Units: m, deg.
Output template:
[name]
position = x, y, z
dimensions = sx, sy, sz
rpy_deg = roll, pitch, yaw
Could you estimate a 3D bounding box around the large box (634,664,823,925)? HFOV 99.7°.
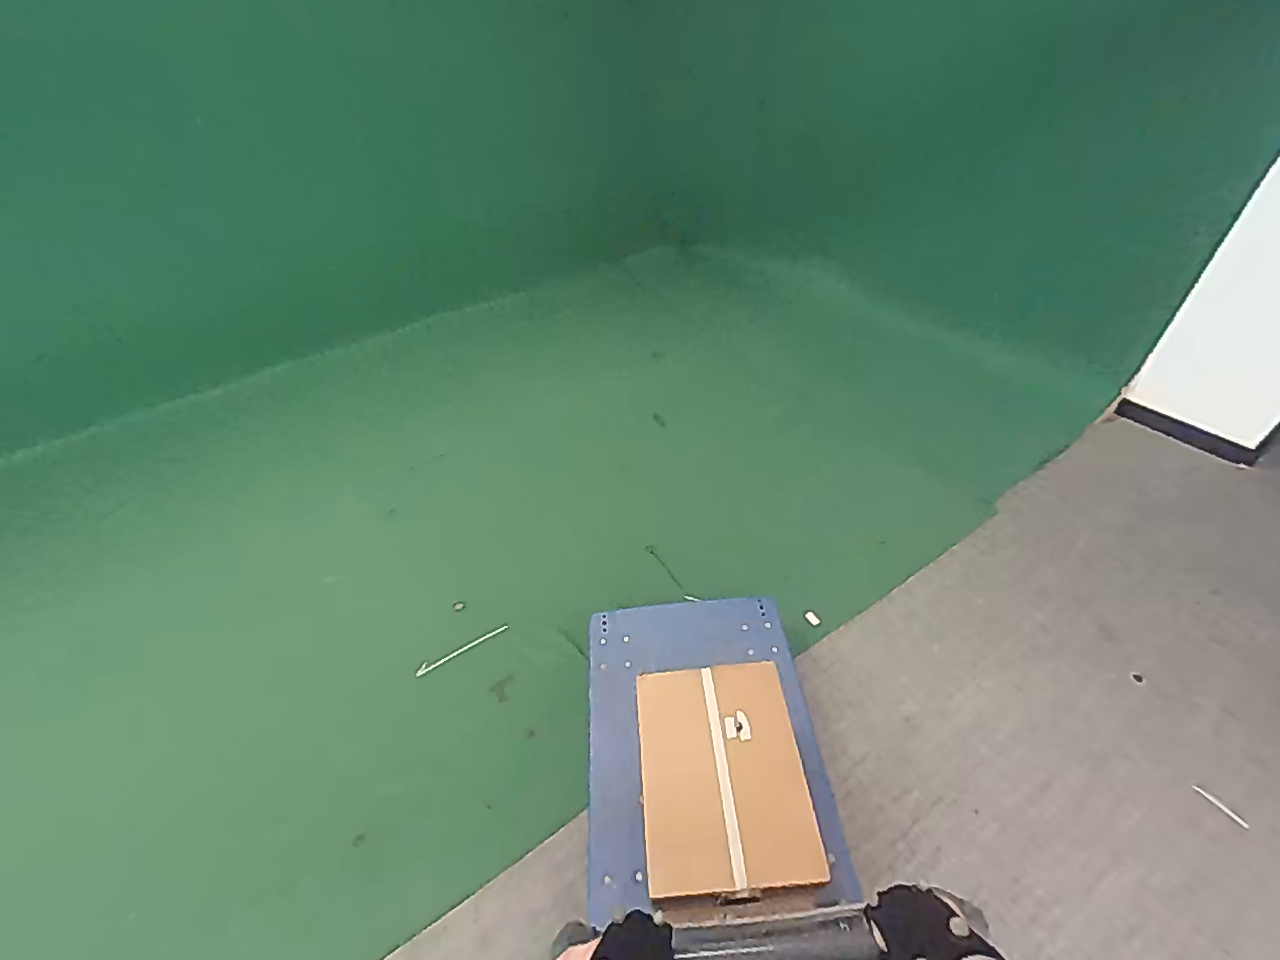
[large box]
position = 0.167, 0.675, 1.176
dimensions = 0.320, 0.320, 0.408
rpy_deg = -5, 42, 0
